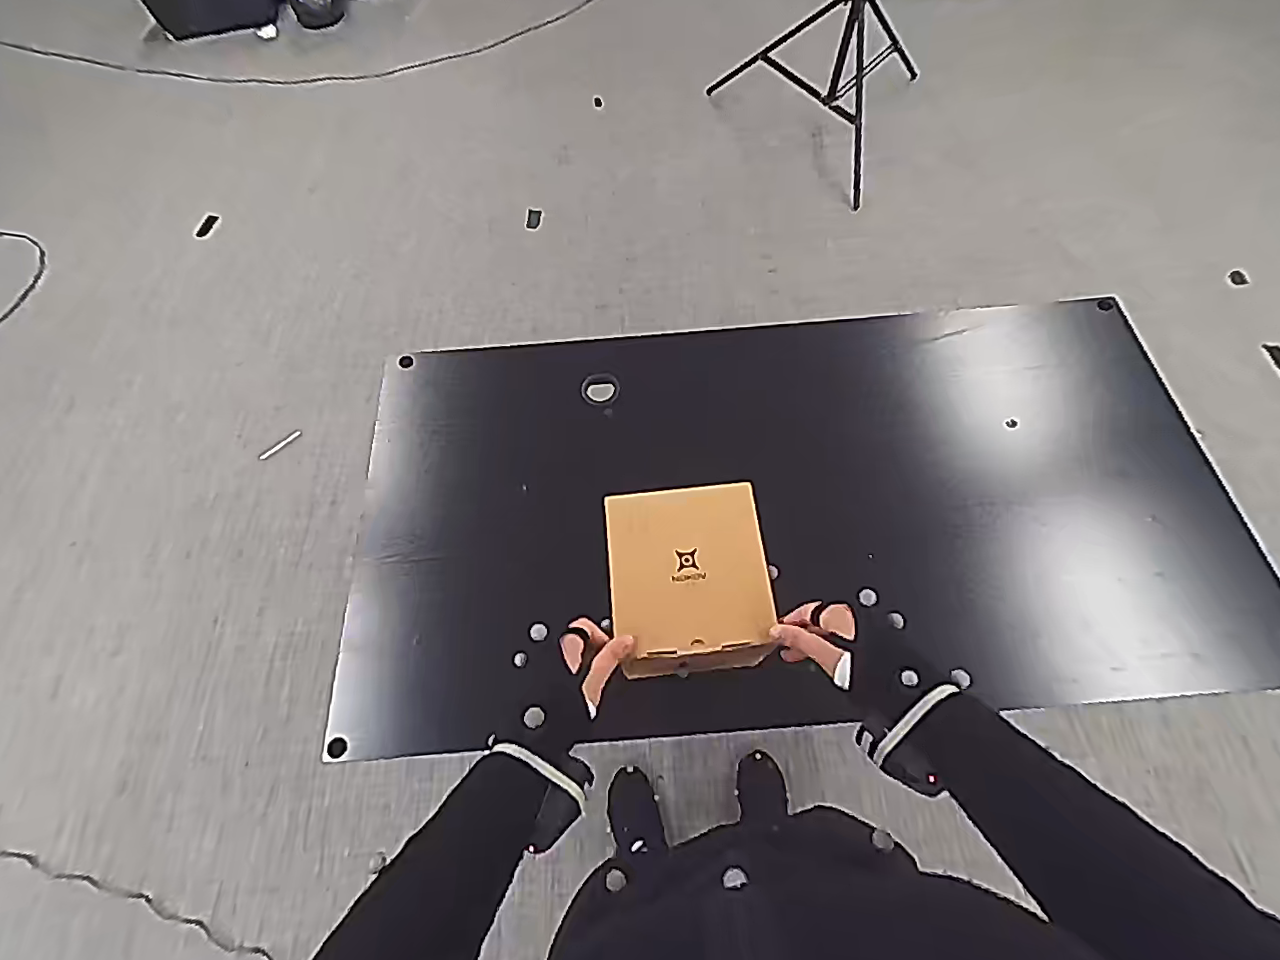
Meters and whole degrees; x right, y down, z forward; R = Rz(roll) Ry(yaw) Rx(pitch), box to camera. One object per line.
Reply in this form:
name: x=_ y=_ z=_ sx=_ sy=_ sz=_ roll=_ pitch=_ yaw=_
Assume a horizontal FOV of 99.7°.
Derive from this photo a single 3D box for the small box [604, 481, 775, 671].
small box: x=0.049 y=0.120 z=0.641 sx=0.168 sy=0.176 sz=0.179 roll=-6 pitch=65 yaw=0
